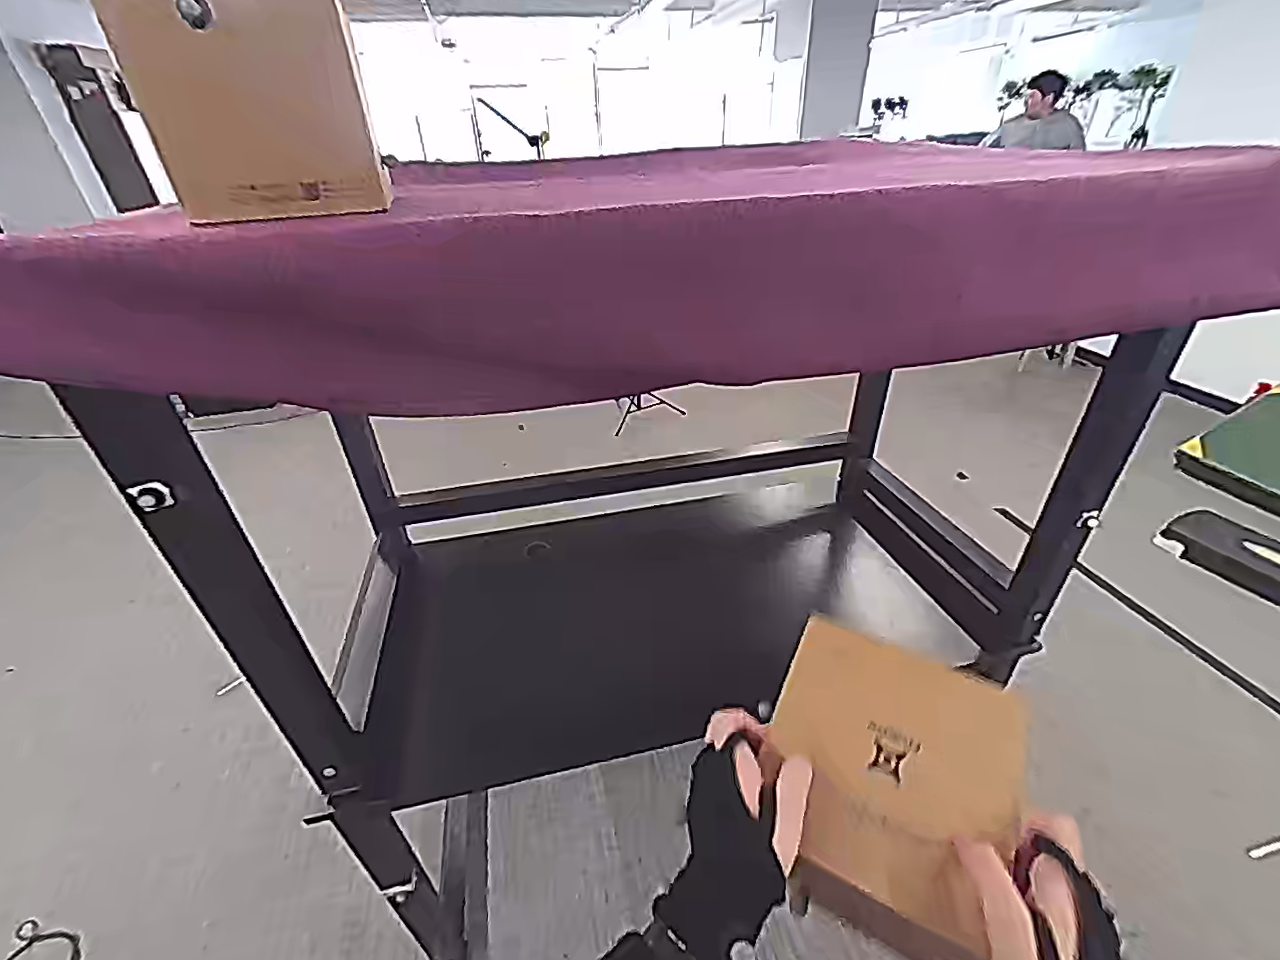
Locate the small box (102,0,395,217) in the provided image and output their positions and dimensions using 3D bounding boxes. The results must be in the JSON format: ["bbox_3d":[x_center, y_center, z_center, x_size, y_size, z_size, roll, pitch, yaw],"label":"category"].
[{"bbox_3d":[-0.341,-0.349,0.510,0.168,0.176,0.179,-13,33,-16],"label":"small box"}]
